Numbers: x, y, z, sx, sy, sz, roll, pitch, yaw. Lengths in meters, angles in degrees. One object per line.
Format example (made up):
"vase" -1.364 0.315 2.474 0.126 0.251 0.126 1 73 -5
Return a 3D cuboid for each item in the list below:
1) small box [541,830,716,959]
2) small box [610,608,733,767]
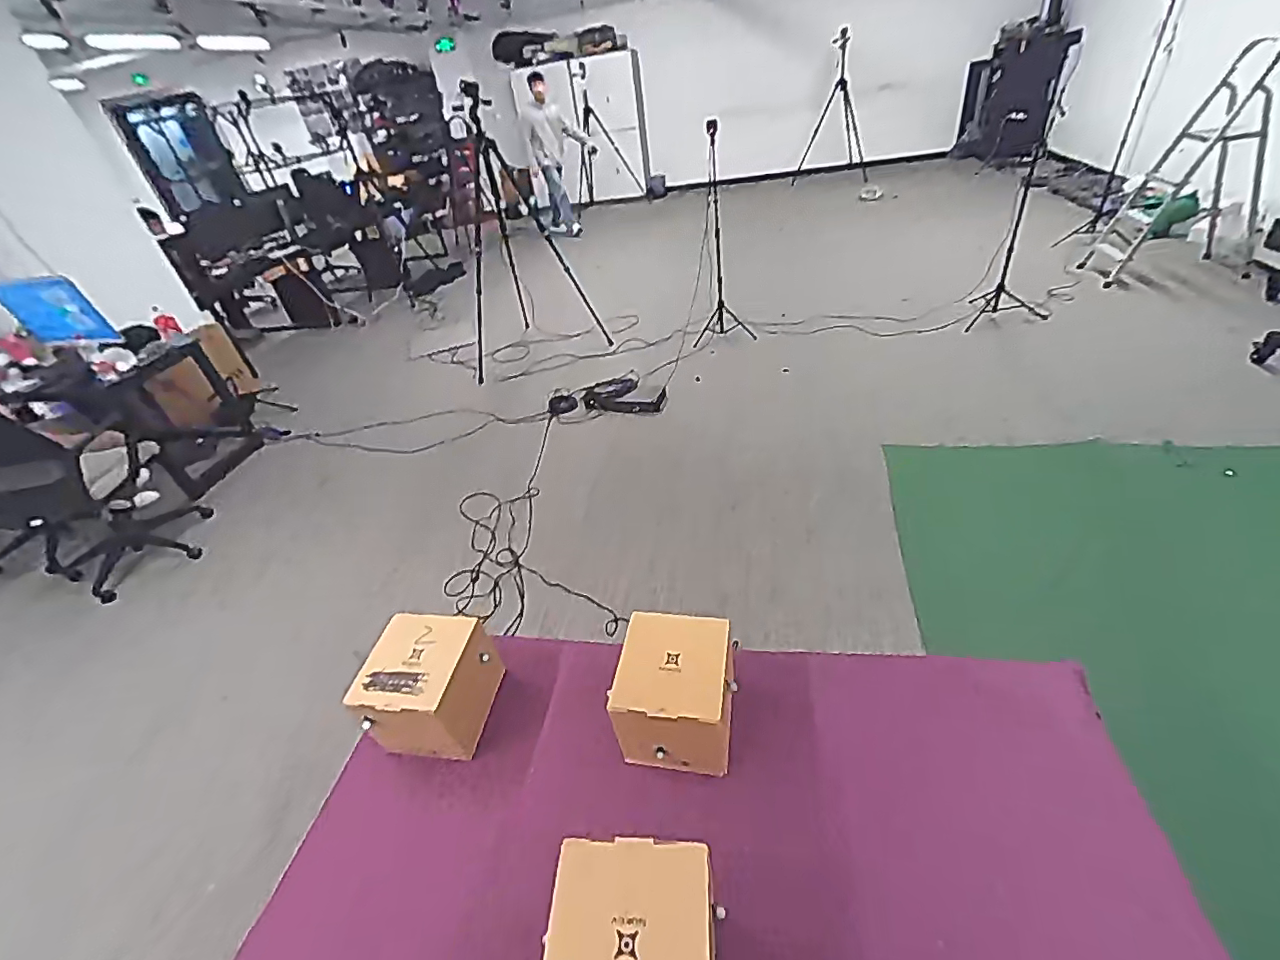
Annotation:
"small box" -0.005 0.518 0.595 0.168 0.176 0.179 -3 39 9
"small box" 0.063 0.337 0.887 0.168 0.176 0.179 1 41 15
